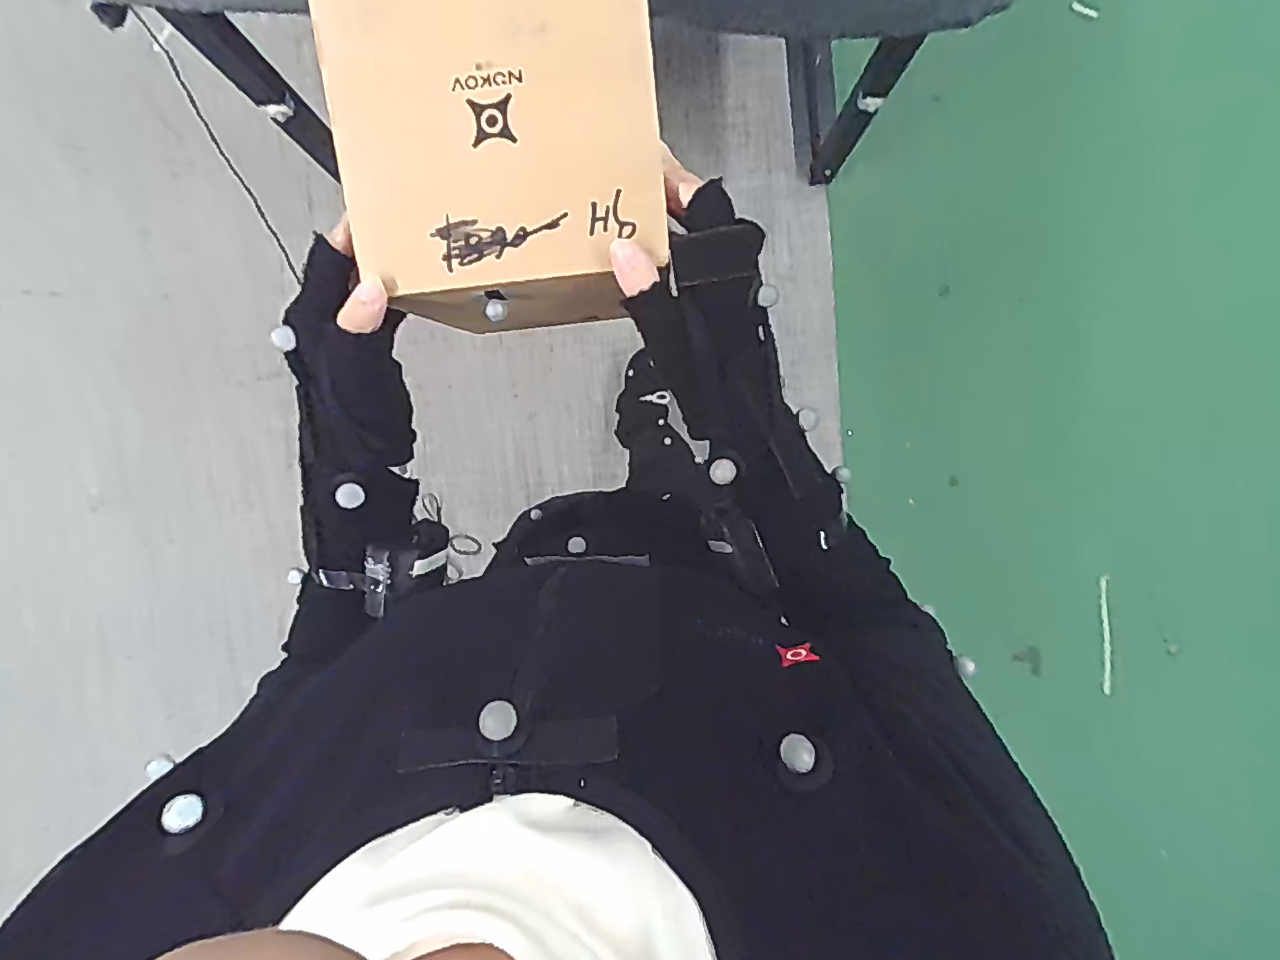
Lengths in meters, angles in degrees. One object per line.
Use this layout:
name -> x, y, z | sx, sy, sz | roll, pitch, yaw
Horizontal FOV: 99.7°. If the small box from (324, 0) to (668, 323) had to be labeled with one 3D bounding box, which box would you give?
small box -> -0.072, -0.211, 0.354 | 0.168, 0.176, 0.179 | -5, 98, 3
